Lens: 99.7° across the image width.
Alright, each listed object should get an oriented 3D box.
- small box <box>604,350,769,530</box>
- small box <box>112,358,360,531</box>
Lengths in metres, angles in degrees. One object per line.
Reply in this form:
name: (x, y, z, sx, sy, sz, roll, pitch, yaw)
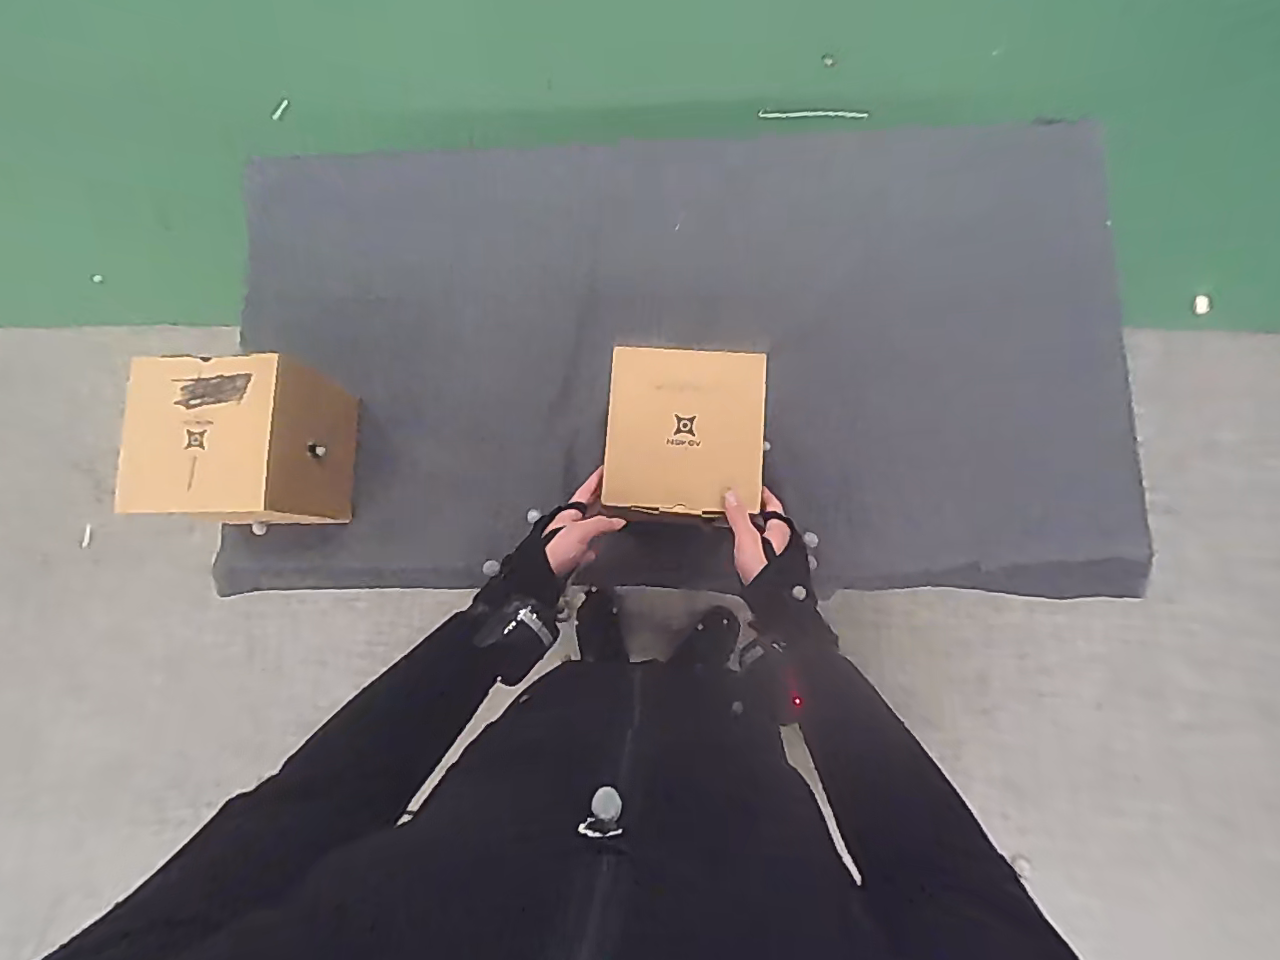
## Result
small box: (0.052, -0.036, 0.634, 0.168, 0.176, 0.179, 2, 79, 2)
small box: (-0.464, -0.033, 0.651, 0.168, 0.176, 0.179, -1, 81, 2)
